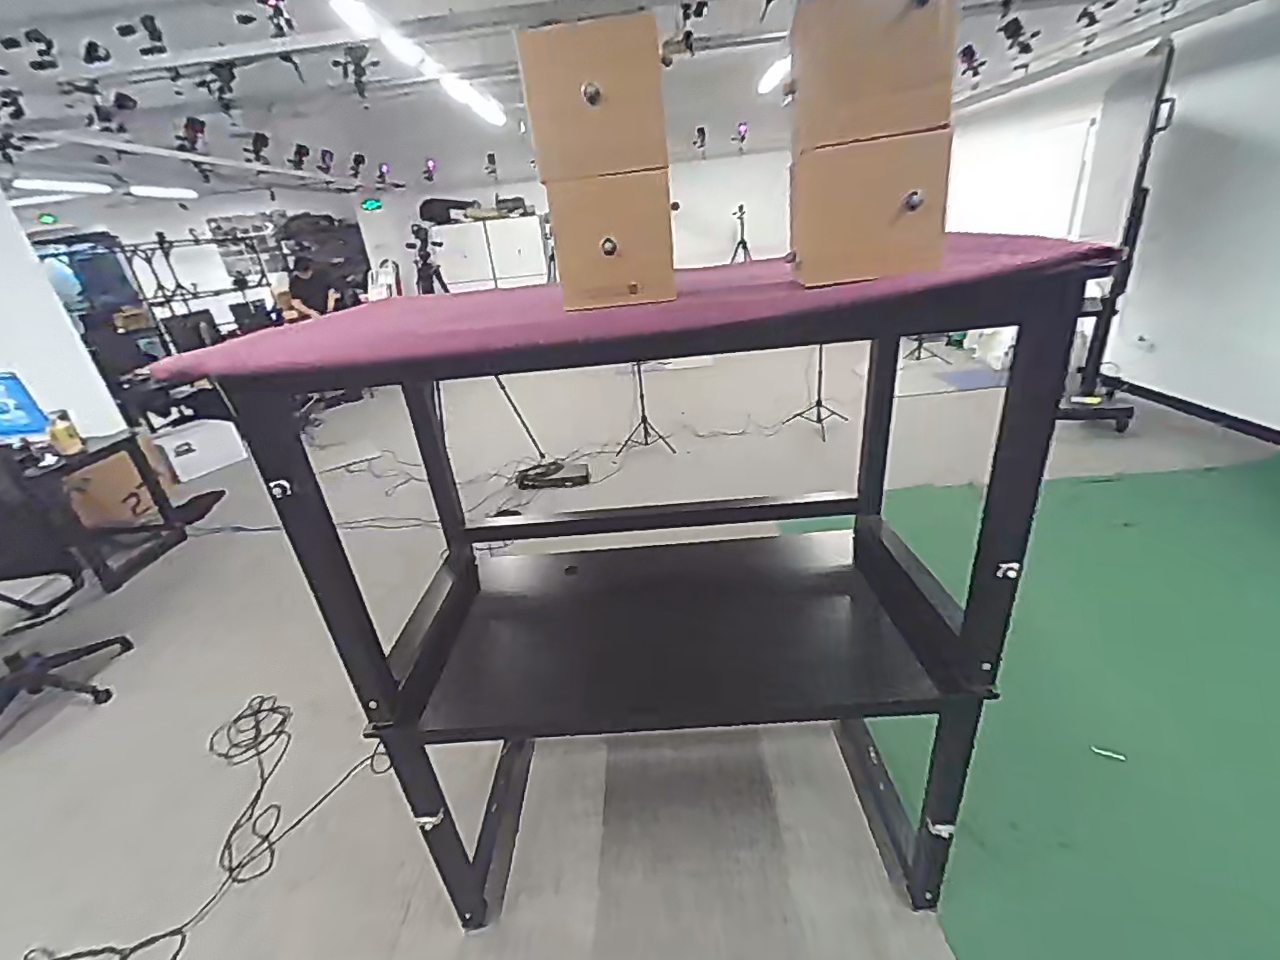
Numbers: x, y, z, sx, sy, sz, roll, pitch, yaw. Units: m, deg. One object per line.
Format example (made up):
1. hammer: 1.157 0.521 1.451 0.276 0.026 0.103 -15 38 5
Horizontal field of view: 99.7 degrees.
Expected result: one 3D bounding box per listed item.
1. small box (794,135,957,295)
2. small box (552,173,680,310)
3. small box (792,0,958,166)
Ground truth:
1. small box: 0.319 -0.367 0.769 0.179 0.176 0.168 -5 22 9
2. small box: -0.027 -0.357 0.825 0.168 0.176 0.179 -4 24 3
3. small box: 0.298 -0.519 0.714 0.179 0.176 0.168 -2 22 11
